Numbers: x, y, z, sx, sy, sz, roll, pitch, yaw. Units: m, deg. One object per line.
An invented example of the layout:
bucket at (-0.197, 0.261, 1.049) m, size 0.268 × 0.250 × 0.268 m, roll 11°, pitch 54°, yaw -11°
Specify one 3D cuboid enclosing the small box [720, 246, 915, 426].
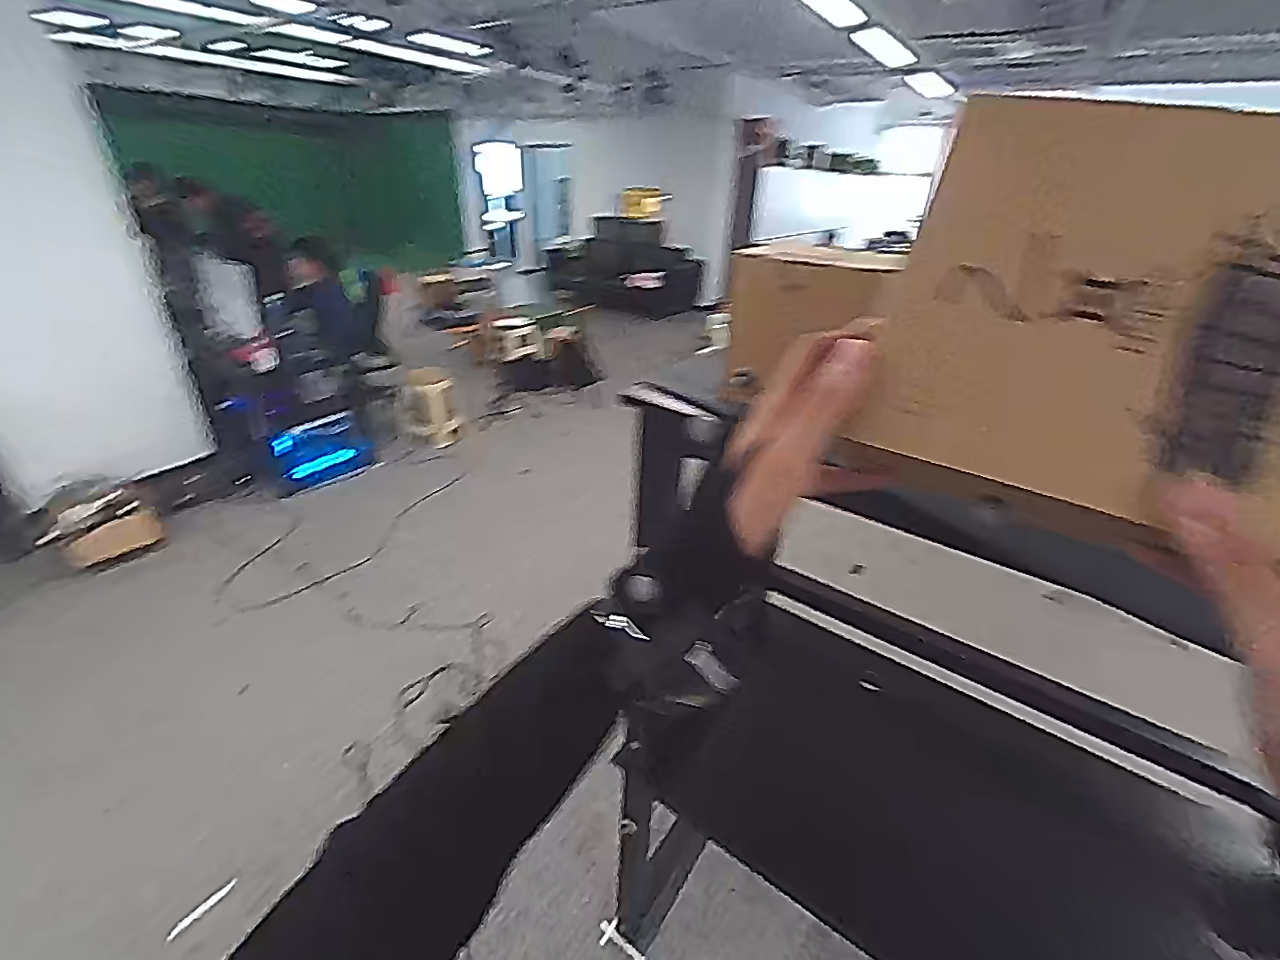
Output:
small box at (0.207, -0.178, 0.651) m, size 0.168 × 0.176 × 0.179 m, roll 20°, pitch 33°, yaw 27°
